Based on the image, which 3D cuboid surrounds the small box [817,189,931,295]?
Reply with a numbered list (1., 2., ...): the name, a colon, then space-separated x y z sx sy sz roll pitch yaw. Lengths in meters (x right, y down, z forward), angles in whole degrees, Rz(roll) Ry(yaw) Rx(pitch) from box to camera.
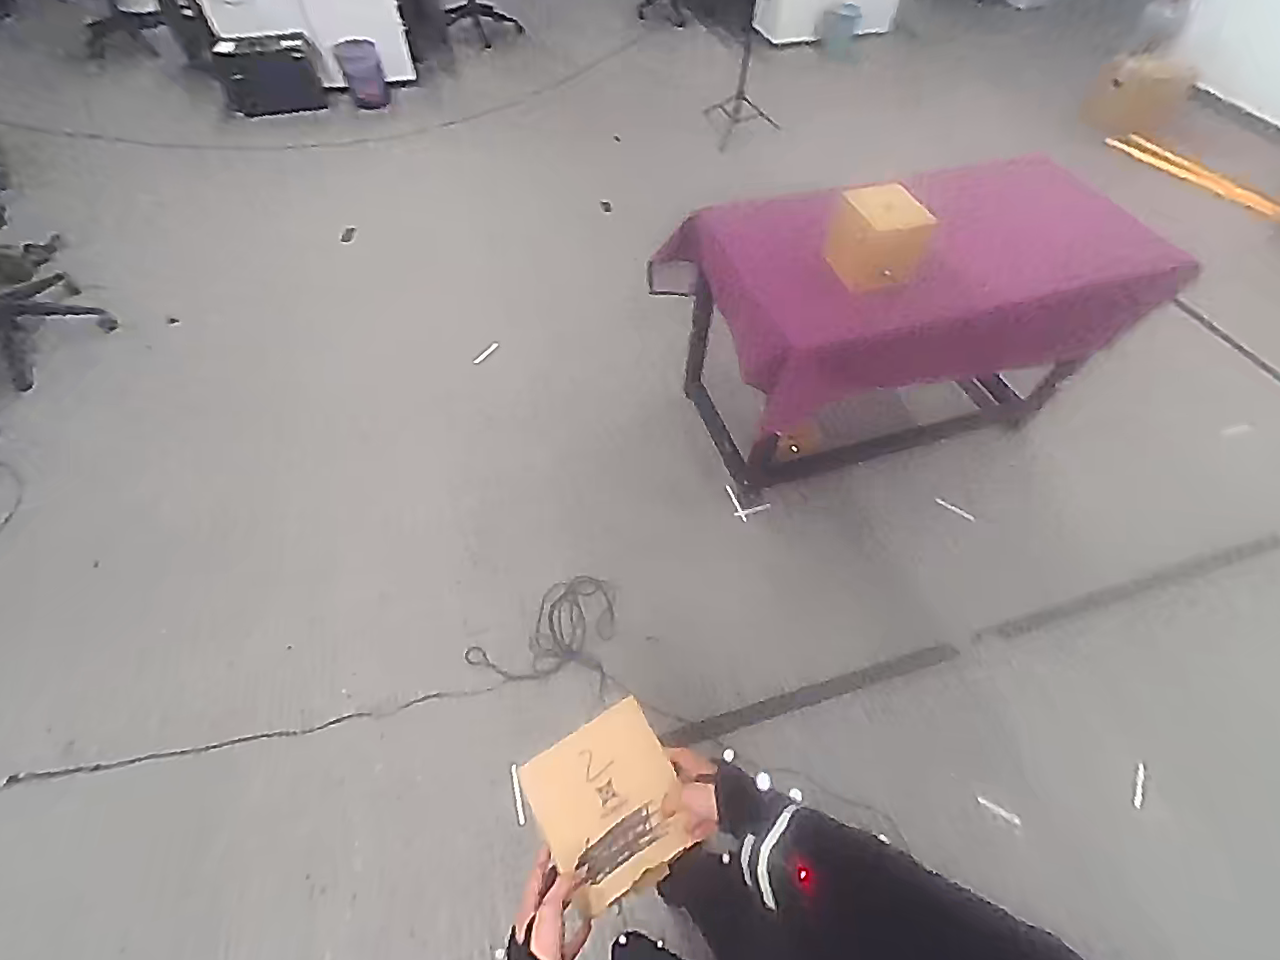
1. small box: 0.568 -0.589 1.342 0.168 0.176 0.179 -15 58 -11
